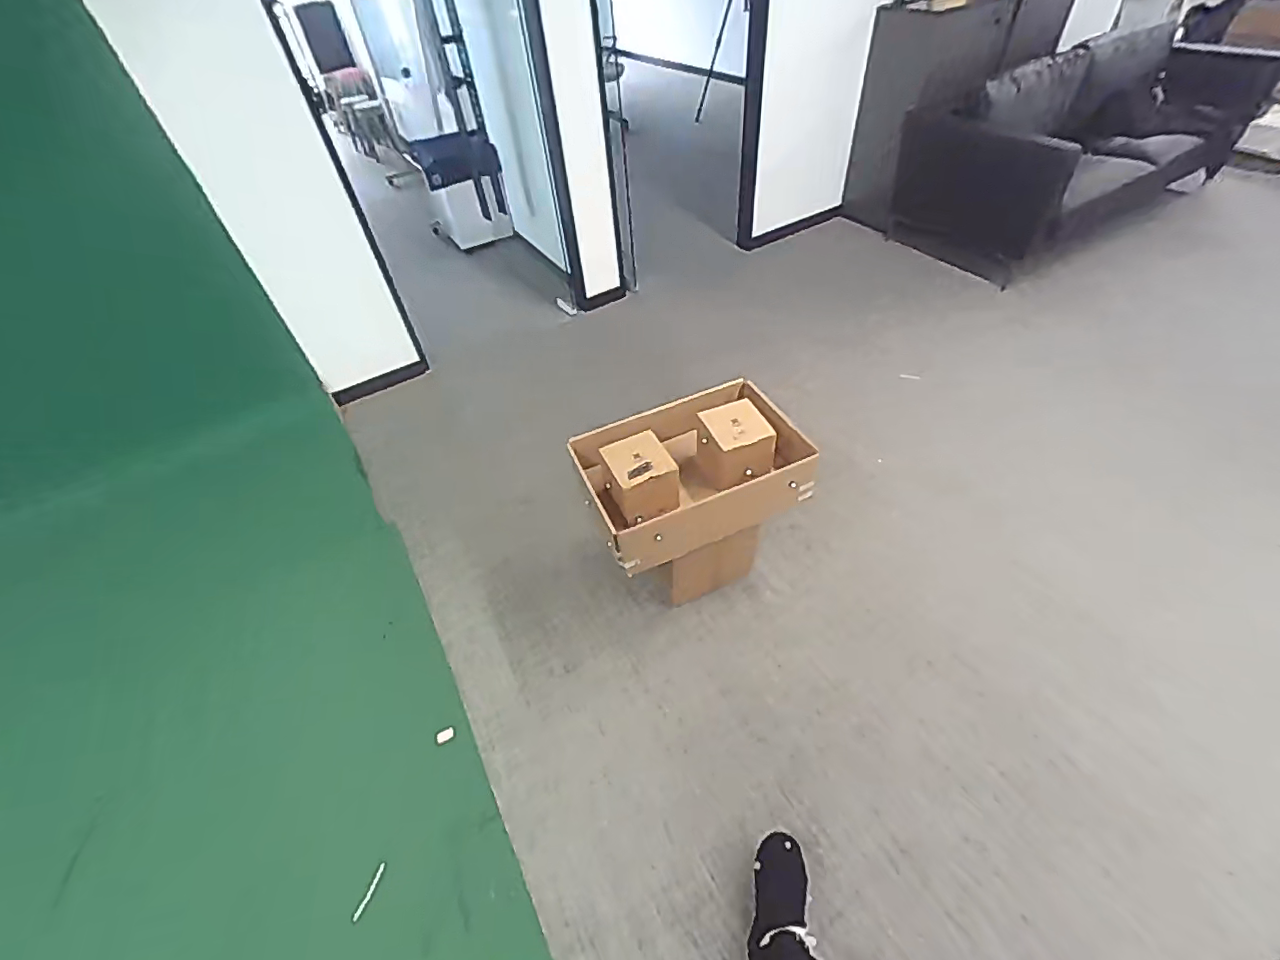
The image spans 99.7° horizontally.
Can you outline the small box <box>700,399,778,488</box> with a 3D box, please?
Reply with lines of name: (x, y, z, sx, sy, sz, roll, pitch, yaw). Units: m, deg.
small box: (0.279, -0.105, 1.580, 0.168, 0.176, 0.179, -18, 49, -10)
